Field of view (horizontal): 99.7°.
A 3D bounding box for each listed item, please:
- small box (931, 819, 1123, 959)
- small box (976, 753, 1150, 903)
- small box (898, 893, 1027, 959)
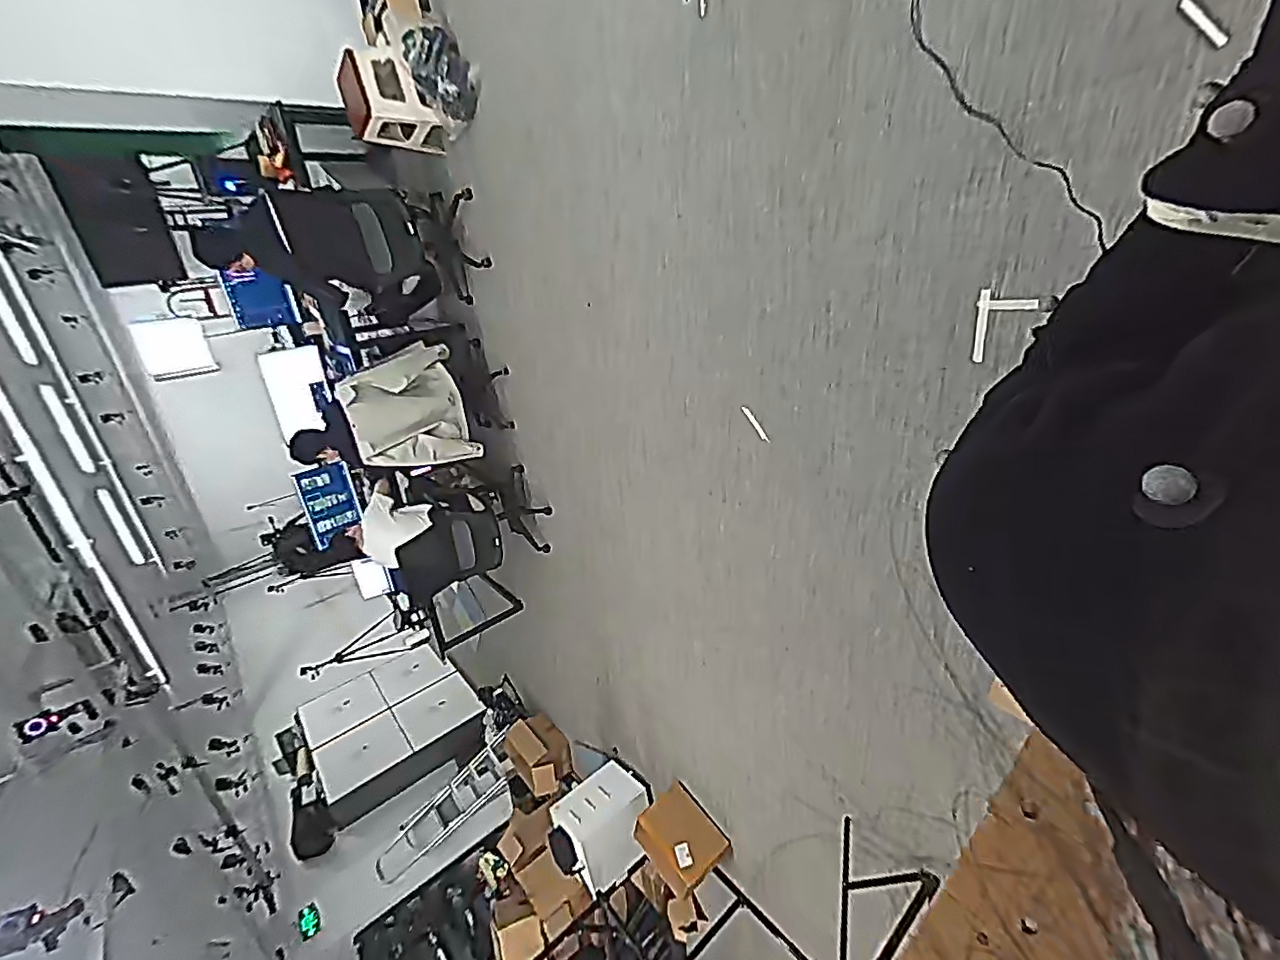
[{"bbox_3d":[0.530,0.624,0.763,0.179,0.176,0.168,26,127,43],"label":"small box"},{"bbox_3d":[0.652,0.571,0.856,0.179,0.176,0.168,26,128,43],"label":"small box"},{"bbox_3d":[0.404,0.677,0.672,0.168,0.176,0.179,26,128,43],"label":"small box"}]
